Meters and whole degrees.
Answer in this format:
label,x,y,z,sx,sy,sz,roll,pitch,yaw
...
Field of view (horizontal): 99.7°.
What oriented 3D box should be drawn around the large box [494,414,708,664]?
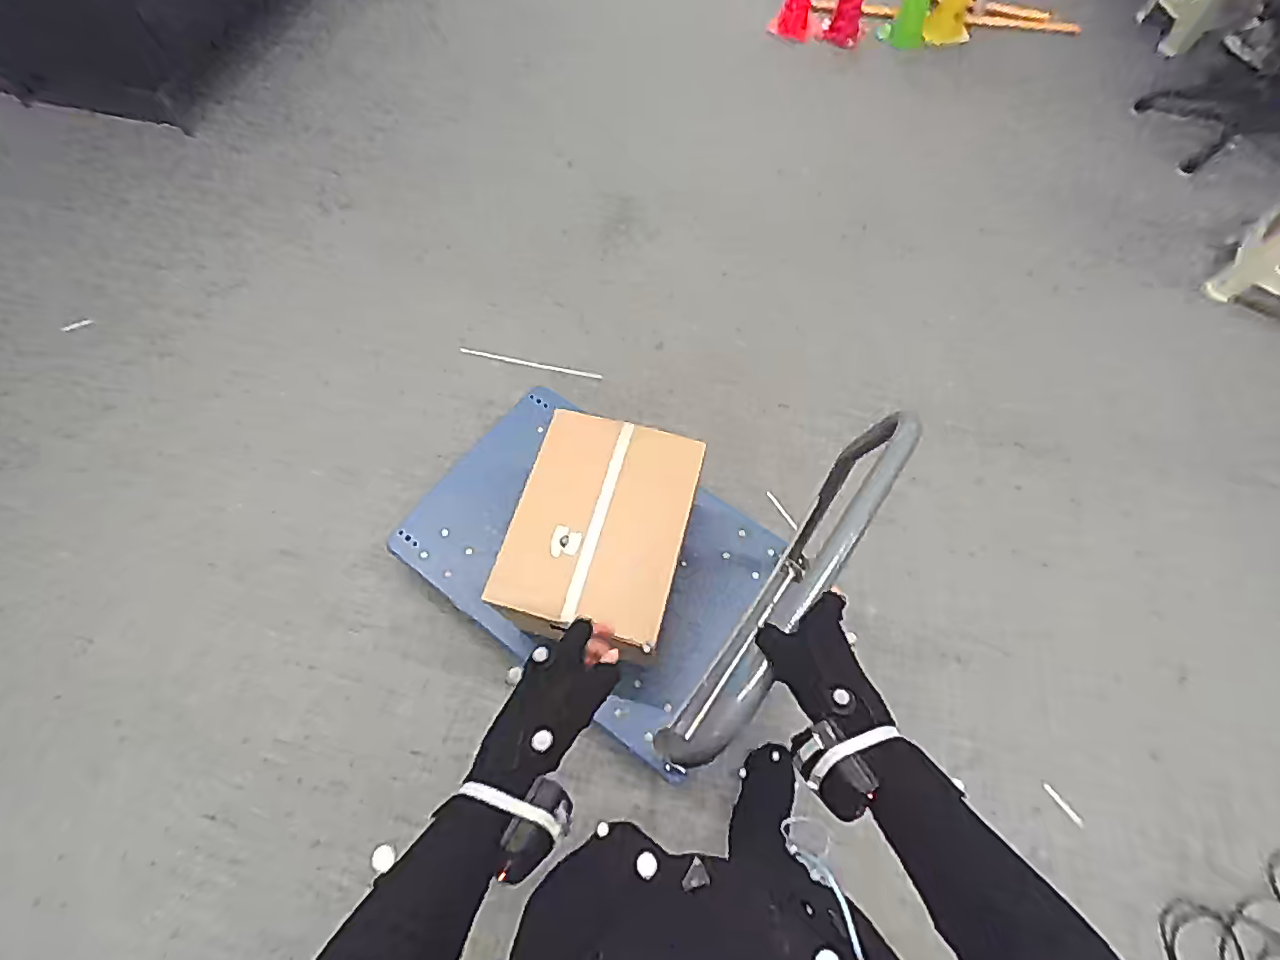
label,x,y,z,sx,sy,sz,roll,pitch,yaw
large box,-0.060,0.133,1.136,0.320,0.320,0.408,14,67,7
